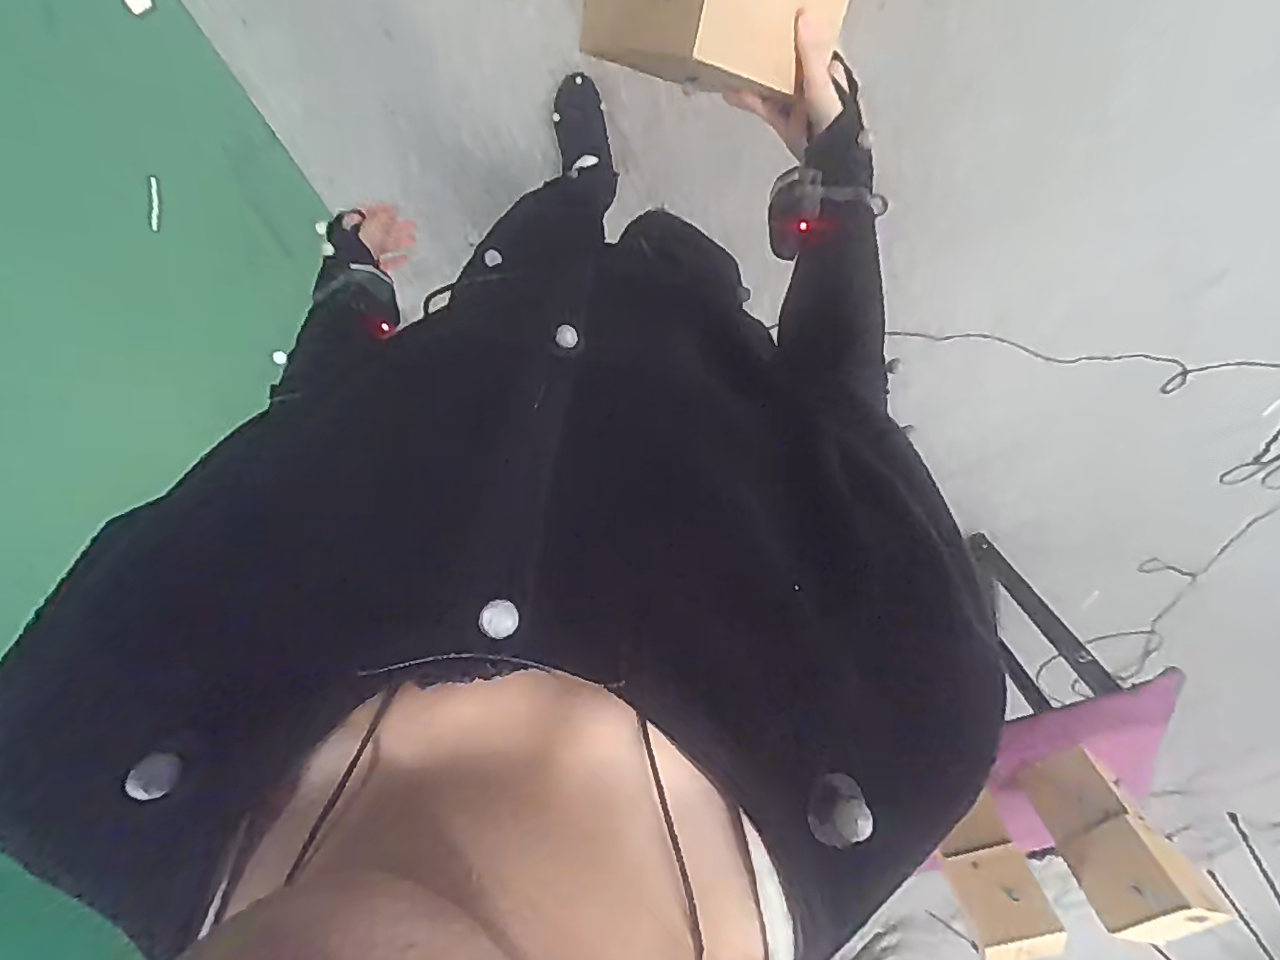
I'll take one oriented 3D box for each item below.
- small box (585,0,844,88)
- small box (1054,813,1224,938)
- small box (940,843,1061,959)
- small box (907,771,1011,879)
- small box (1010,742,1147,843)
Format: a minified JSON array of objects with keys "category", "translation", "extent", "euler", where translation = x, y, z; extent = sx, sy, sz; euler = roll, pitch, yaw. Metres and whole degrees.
[{"category":"small box","translation":[0.068,-0.461,0.458],"extent":[0.168,0.176,0.179],"euler":[-14,129,-36]},{"category":"small box","translation":[1.064,0.852,1.168],"extent":[0.168,0.176,0.179],"euler":[24,120,-19]},{"category":"small box","translation":[0.802,0.947,1.219],"extent":[0.168,0.176,0.179],"euler":[-21,125,9]},{"category":"small box","translation":[0.799,0.868,1.362],"extent":[0.168,0.176,0.179],"euler":[-21,123,9]},{"category":"small box","translation":[1.058,0.771,1.313],"extent":[0.168,0.176,0.179],"euler":[36,115,-24]}]
